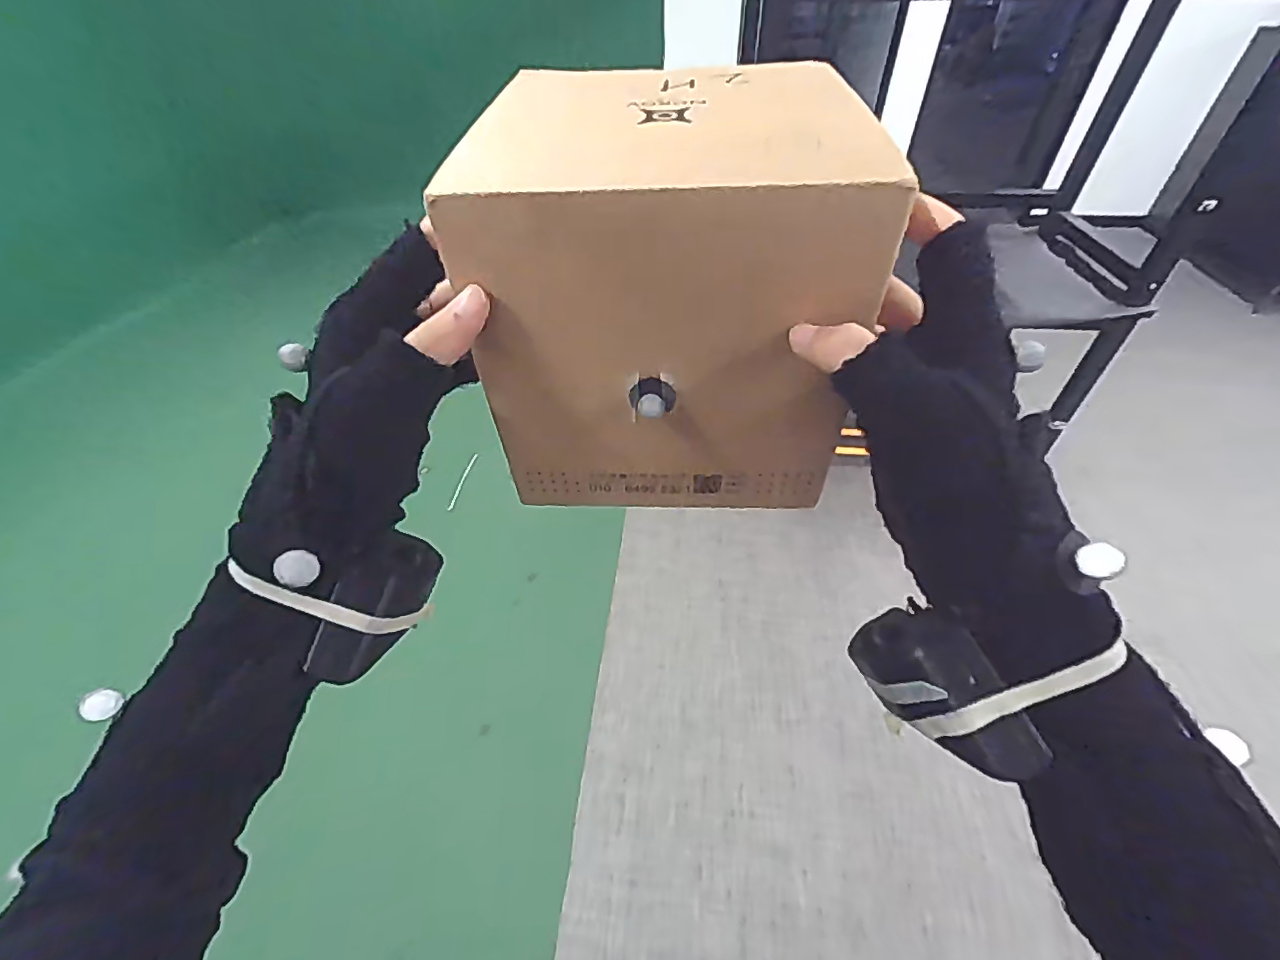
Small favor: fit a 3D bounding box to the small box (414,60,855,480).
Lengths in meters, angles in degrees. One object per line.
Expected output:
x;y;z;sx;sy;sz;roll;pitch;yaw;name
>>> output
0.005;-0.115;0.308;0.168;0.176;0.179;1;46;4;small box
